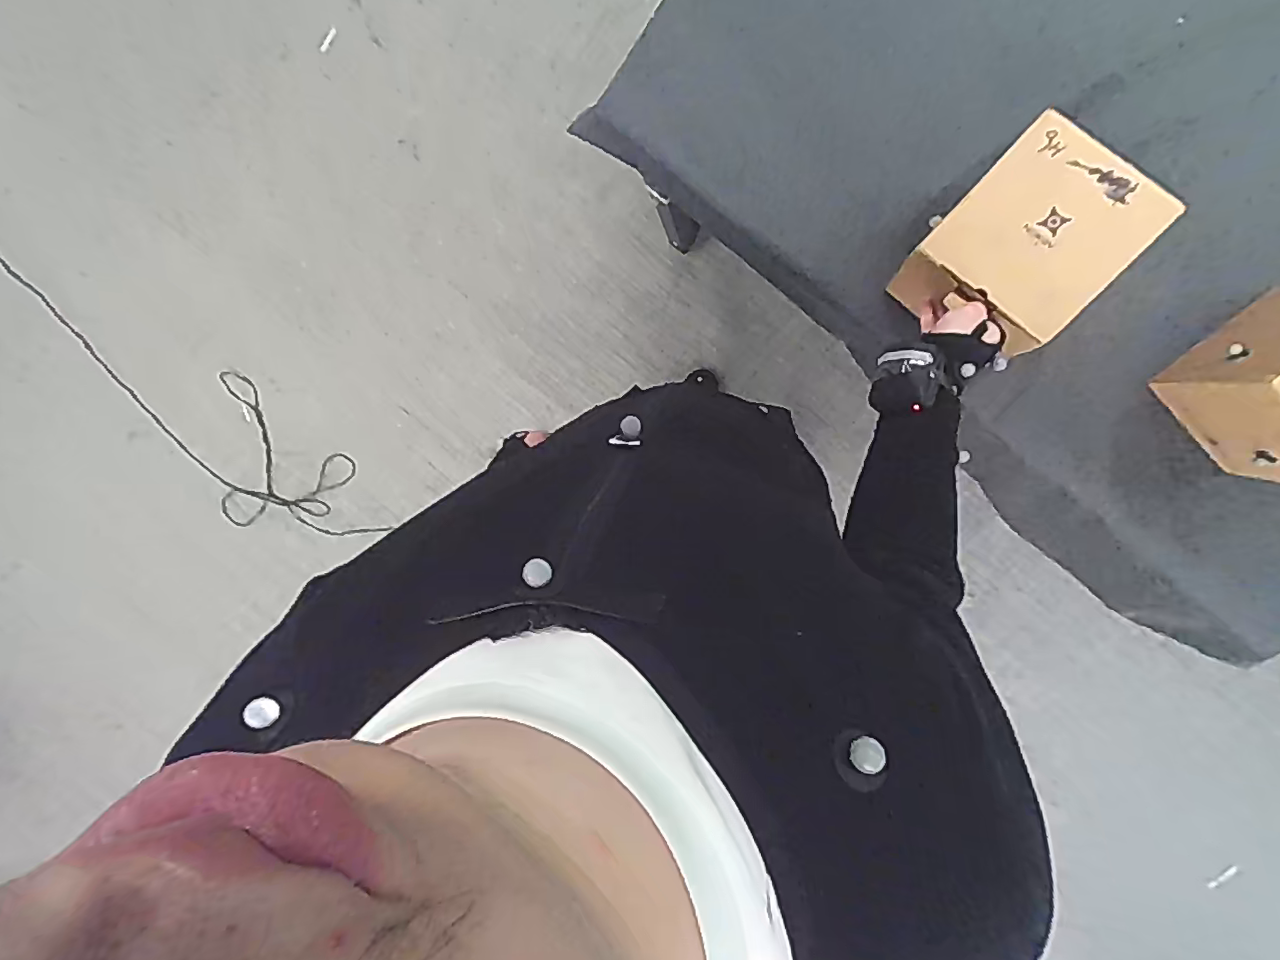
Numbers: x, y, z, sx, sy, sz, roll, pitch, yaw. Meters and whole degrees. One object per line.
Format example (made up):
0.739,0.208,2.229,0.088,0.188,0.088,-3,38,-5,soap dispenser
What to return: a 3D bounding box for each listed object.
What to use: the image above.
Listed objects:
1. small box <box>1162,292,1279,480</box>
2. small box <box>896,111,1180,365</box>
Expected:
0.766,-0.107,0.617,0.179,0.176,0.168,-42,93,11,small box
0.422,-0.254,0.619,0.168,0.176,0.179,44,102,7,small box
